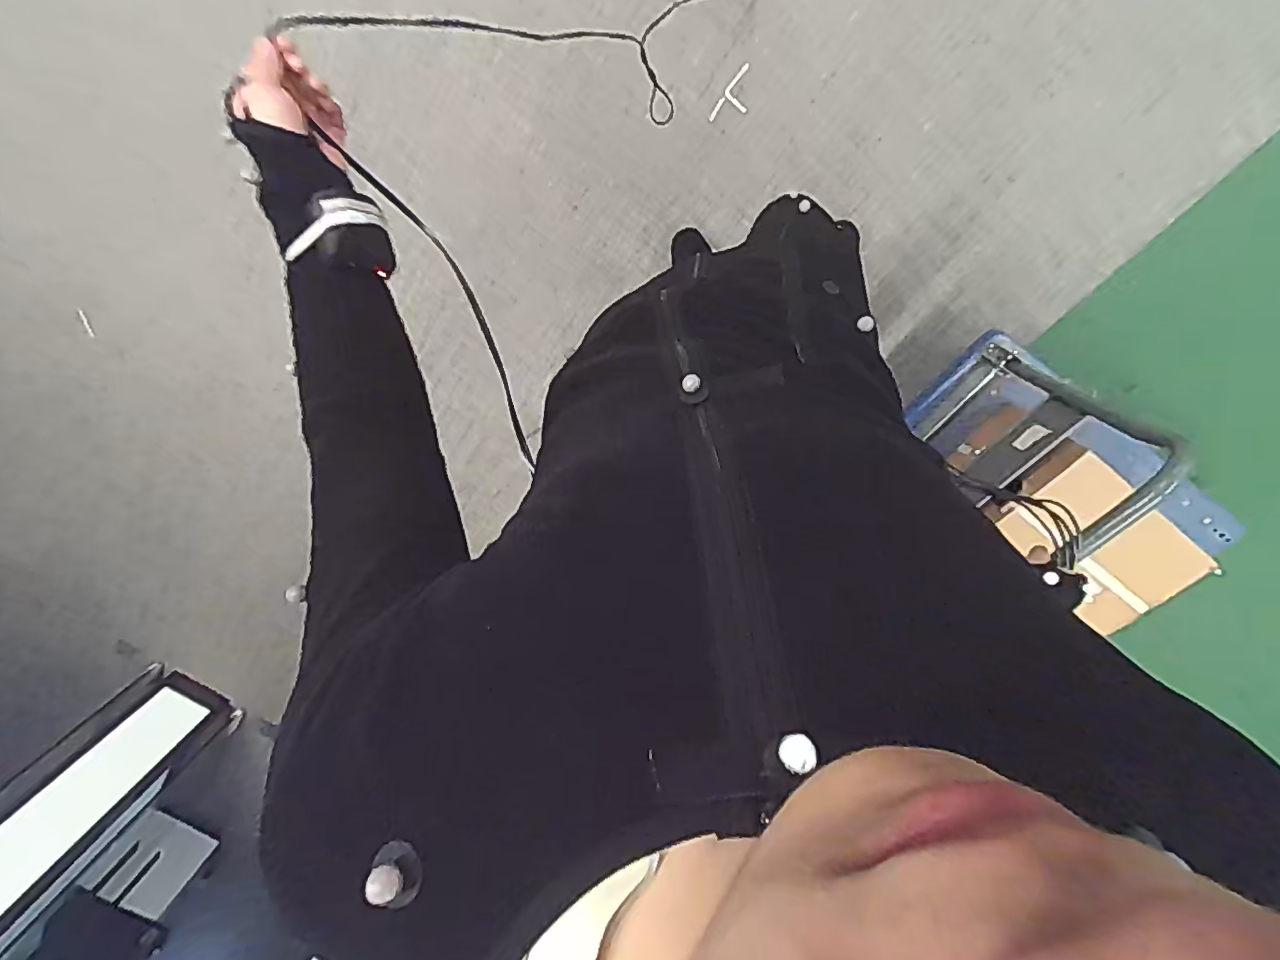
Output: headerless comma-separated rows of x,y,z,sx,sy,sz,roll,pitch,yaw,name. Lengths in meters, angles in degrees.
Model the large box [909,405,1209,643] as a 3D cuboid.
0.932,0.091,1.264,0.408,0.320,0.320,36,116,-10,large box
